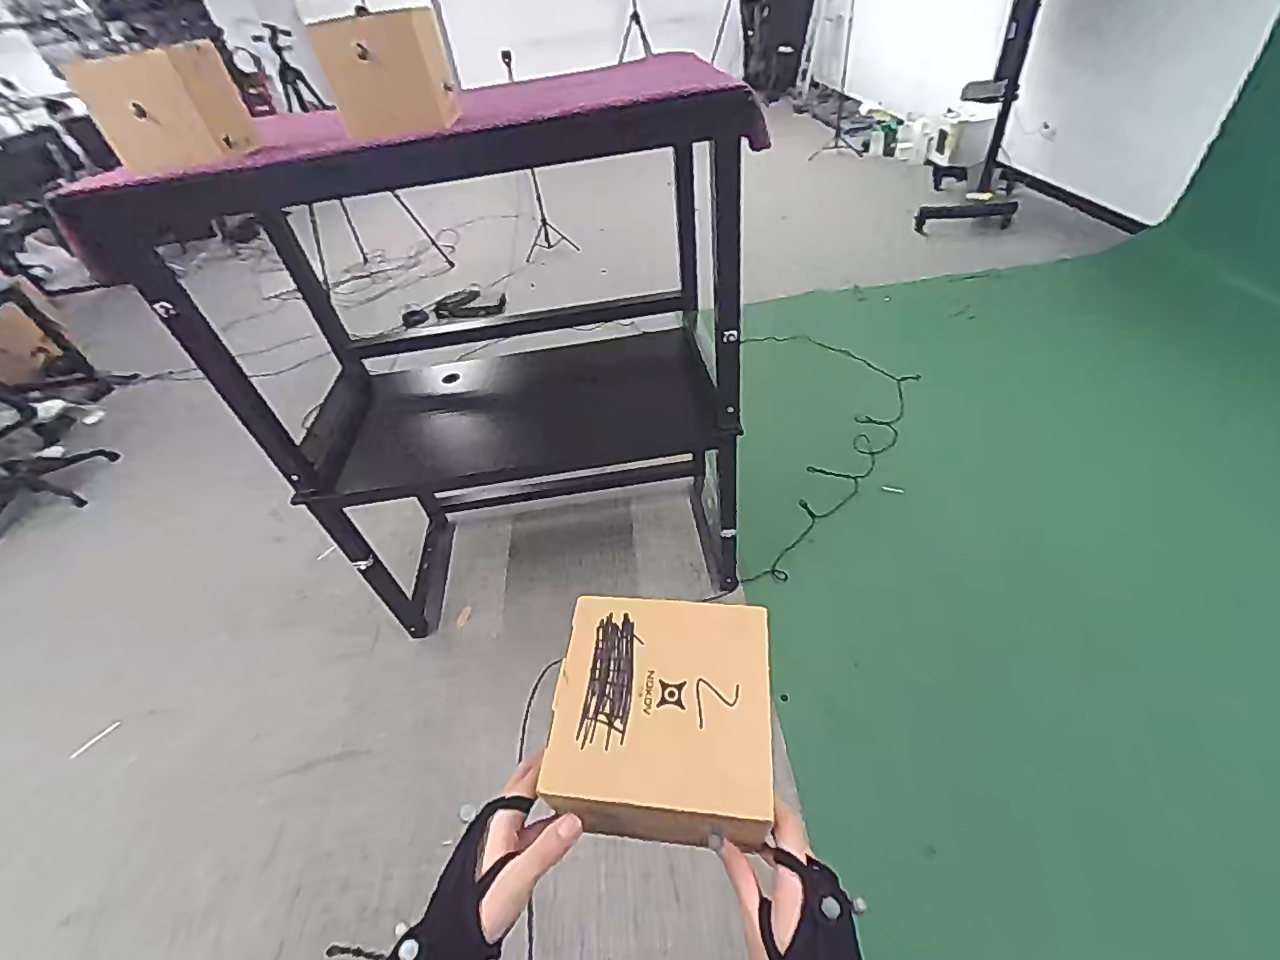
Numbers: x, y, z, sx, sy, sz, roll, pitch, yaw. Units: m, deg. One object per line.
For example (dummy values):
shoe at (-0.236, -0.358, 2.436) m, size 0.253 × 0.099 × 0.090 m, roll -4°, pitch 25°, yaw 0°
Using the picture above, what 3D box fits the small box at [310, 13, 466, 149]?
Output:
small box at (-0.438, -0.715, 0.974) m, size 0.179 × 0.176 × 0.168 m, roll -8°, pitch 43°, yaw 2°

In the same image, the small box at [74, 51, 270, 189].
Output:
small box at (-0.826, -0.652, 0.982) m, size 0.179 × 0.176 × 0.168 m, roll -11°, pitch 42°, yaw 1°
